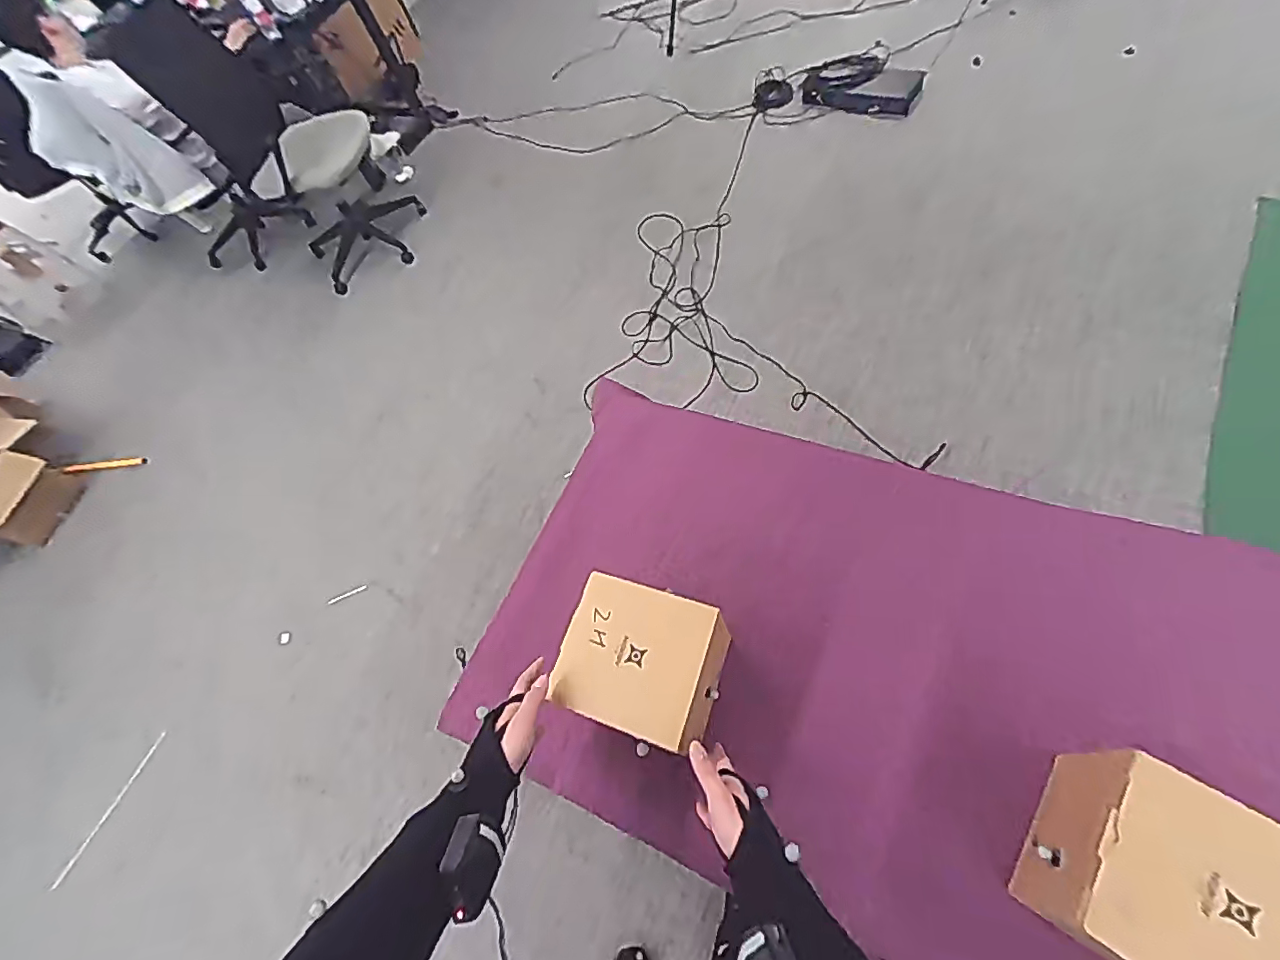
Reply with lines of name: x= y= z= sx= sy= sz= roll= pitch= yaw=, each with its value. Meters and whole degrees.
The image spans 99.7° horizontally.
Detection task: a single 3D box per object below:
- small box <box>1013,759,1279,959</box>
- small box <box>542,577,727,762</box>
small box: x=0.492 y=0.393 z=0.504 sx=0.179 sy=0.176 sz=0.168 roll=29 pitch=72 yaw=26
small box: x=0.007 y=0.248 z=0.706 sx=0.179 sy=0.176 sz=0.168 roll=13 pitch=66 yaw=21
